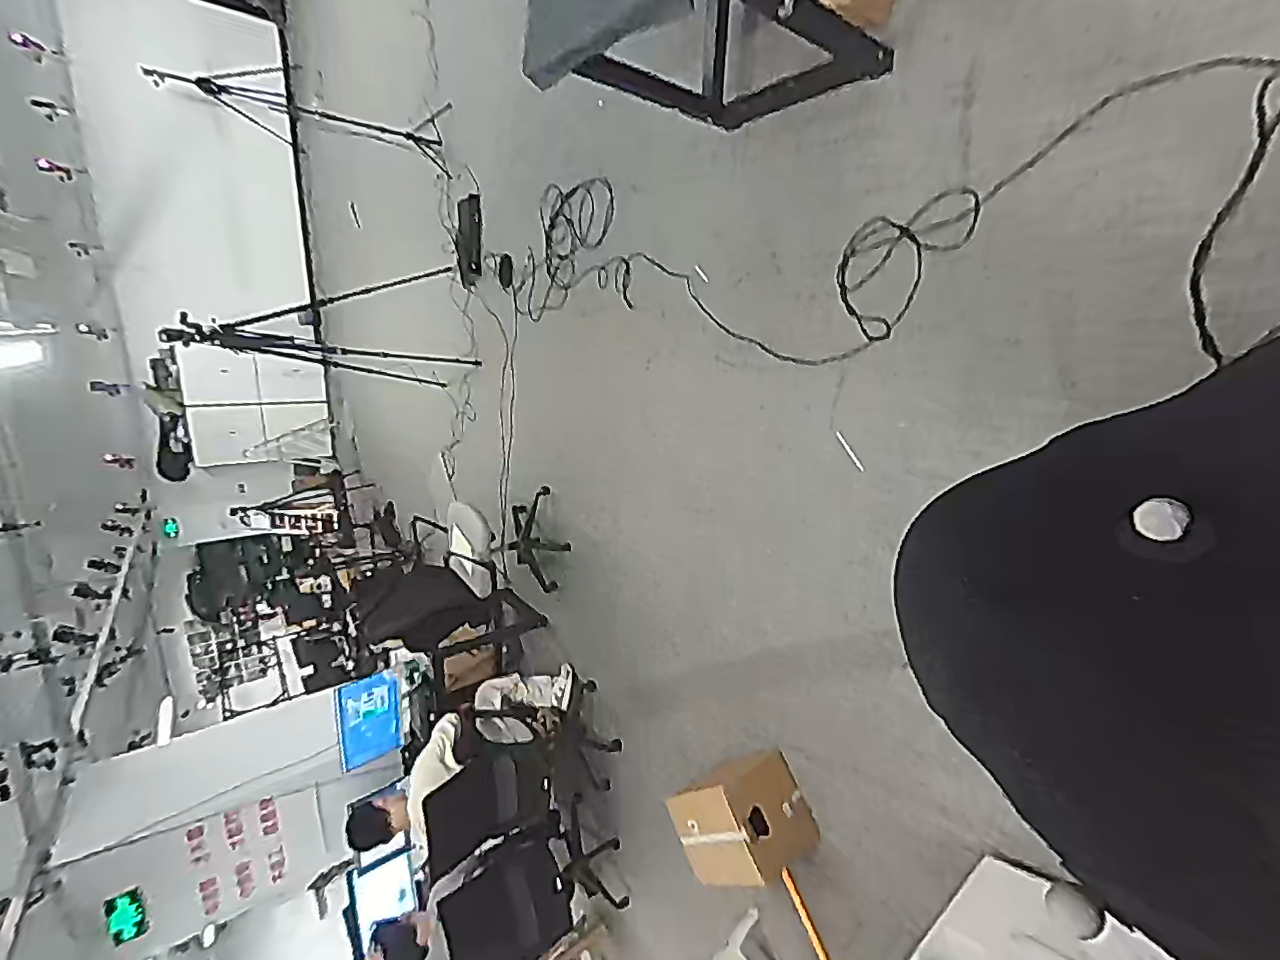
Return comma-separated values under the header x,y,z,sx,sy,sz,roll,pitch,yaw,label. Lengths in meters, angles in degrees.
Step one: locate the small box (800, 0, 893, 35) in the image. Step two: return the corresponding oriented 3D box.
x,y,z,sx,sy,sz,roll,pitch,yaw,label
0.545,-1.270,1.379,0.168,0.176,0.179,35,125,43,small box
